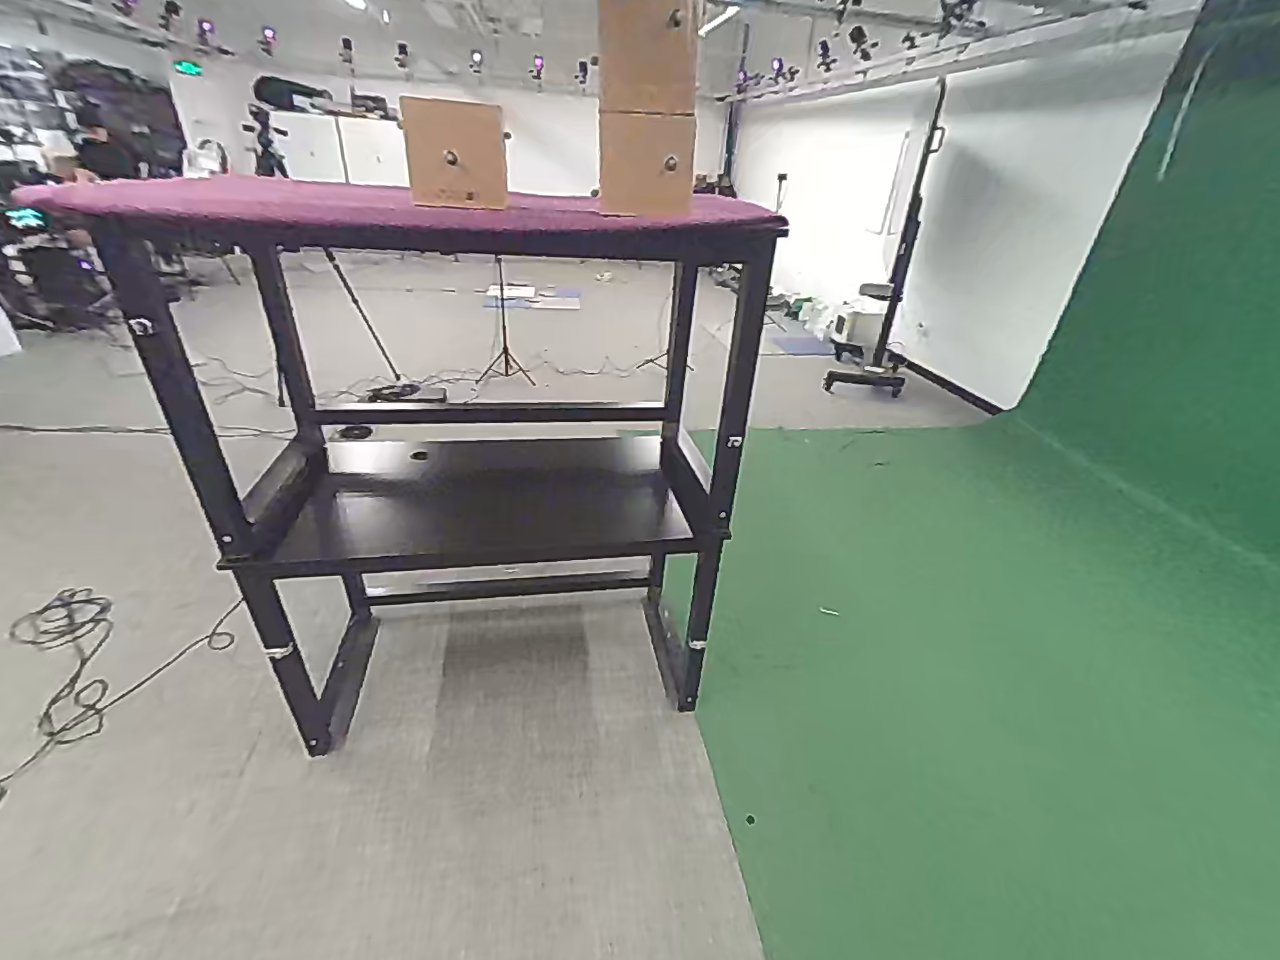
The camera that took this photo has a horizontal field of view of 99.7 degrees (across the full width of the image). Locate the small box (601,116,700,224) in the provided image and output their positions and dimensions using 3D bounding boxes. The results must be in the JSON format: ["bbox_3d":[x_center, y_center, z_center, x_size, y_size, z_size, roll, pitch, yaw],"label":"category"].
[{"bbox_3d":[0.013,-0.603,1.064,0.179,0.176,0.168,-1,27,-5],"label":"small box"}]

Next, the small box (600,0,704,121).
[{"bbox_3d":[0.017,-0.750,0.994,0.179,0.176,0.168,1,27,-3],"label":"small box"}]

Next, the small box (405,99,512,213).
[{"bbox_3d":[-0.336,-0.613,1.035,0.168,0.176,0.179,-1,30,-10],"label":"small box"}]
